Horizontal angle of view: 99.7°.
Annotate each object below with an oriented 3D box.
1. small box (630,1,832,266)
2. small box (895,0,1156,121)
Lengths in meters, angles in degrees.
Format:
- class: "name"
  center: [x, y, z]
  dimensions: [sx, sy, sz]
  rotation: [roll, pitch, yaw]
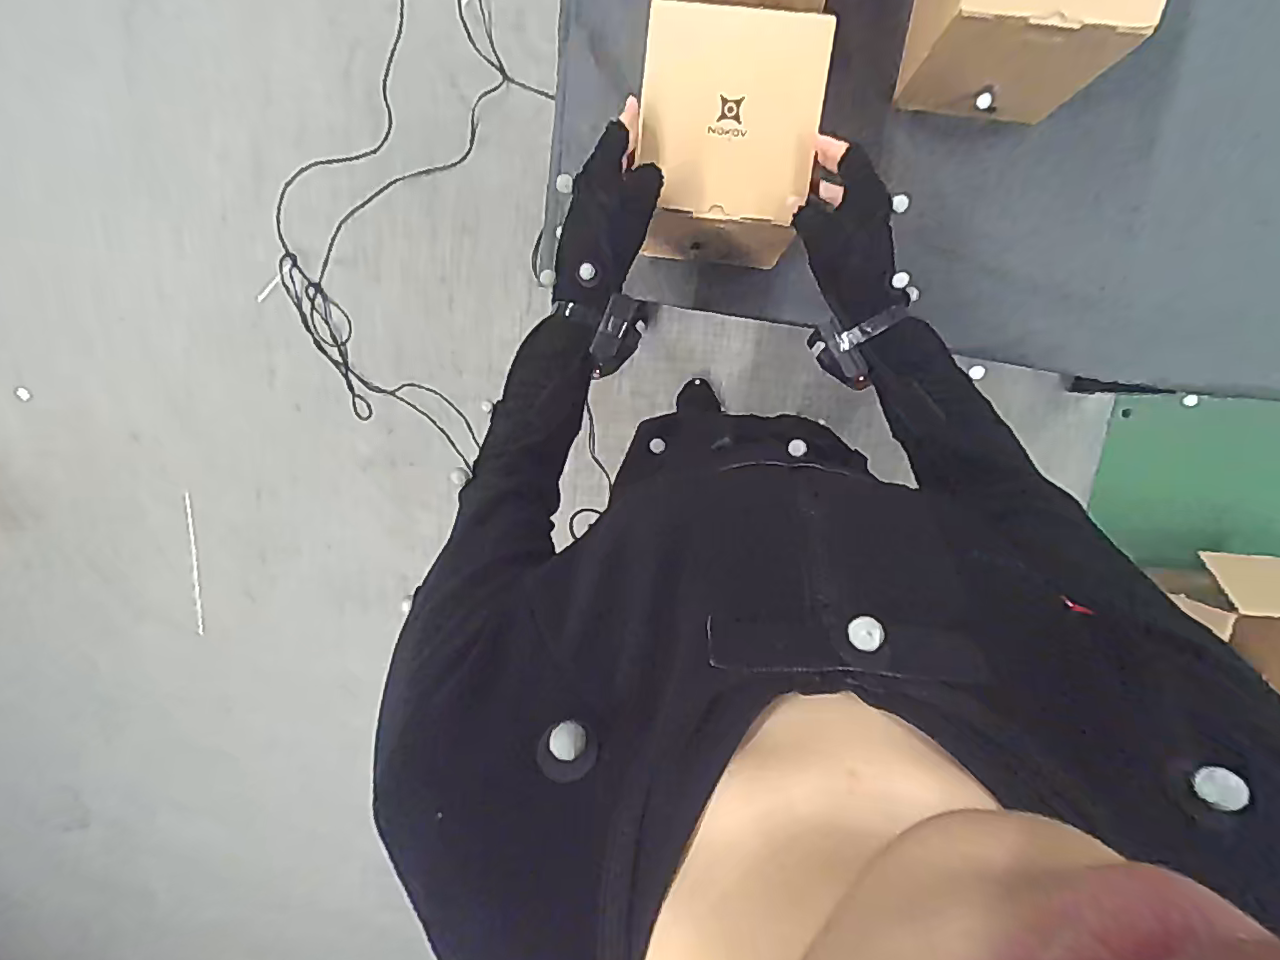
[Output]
- class: "small box"
  center: [0.083, -0.344, 0.571]
  dimensions: [0.168, 0.176, 0.179]
  rotation: [7, 99, 1]
- class: "small box"
  center: [0.376, -0.496, 0.532]
  dimensions: [0.168, 0.176, 0.179]
  rotation: [9, 102, 4]
